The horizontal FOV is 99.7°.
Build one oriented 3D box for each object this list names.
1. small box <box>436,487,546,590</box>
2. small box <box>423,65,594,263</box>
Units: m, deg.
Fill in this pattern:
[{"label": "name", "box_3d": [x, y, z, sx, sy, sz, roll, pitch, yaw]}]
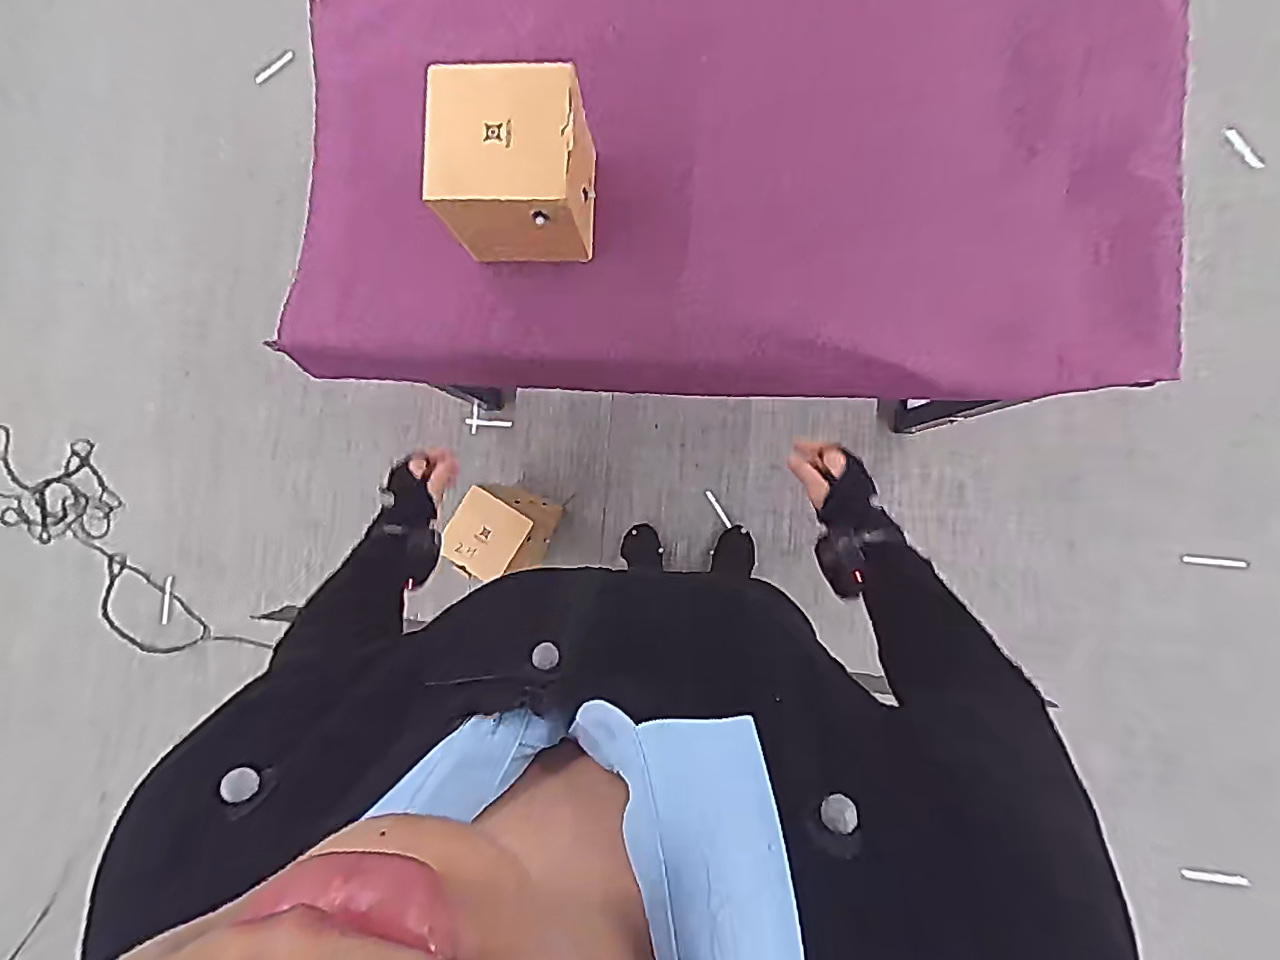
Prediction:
[{"label": "small box", "box_3d": [-0.338, 0.130, 1.272, 0.168, 0.176, 0.179, 32, 91, 4]}, {"label": "small box", "box_3d": [-0.162, -0.402, 0.714, 0.179, 0.176, 0.168, 1, 88, 3]}]
